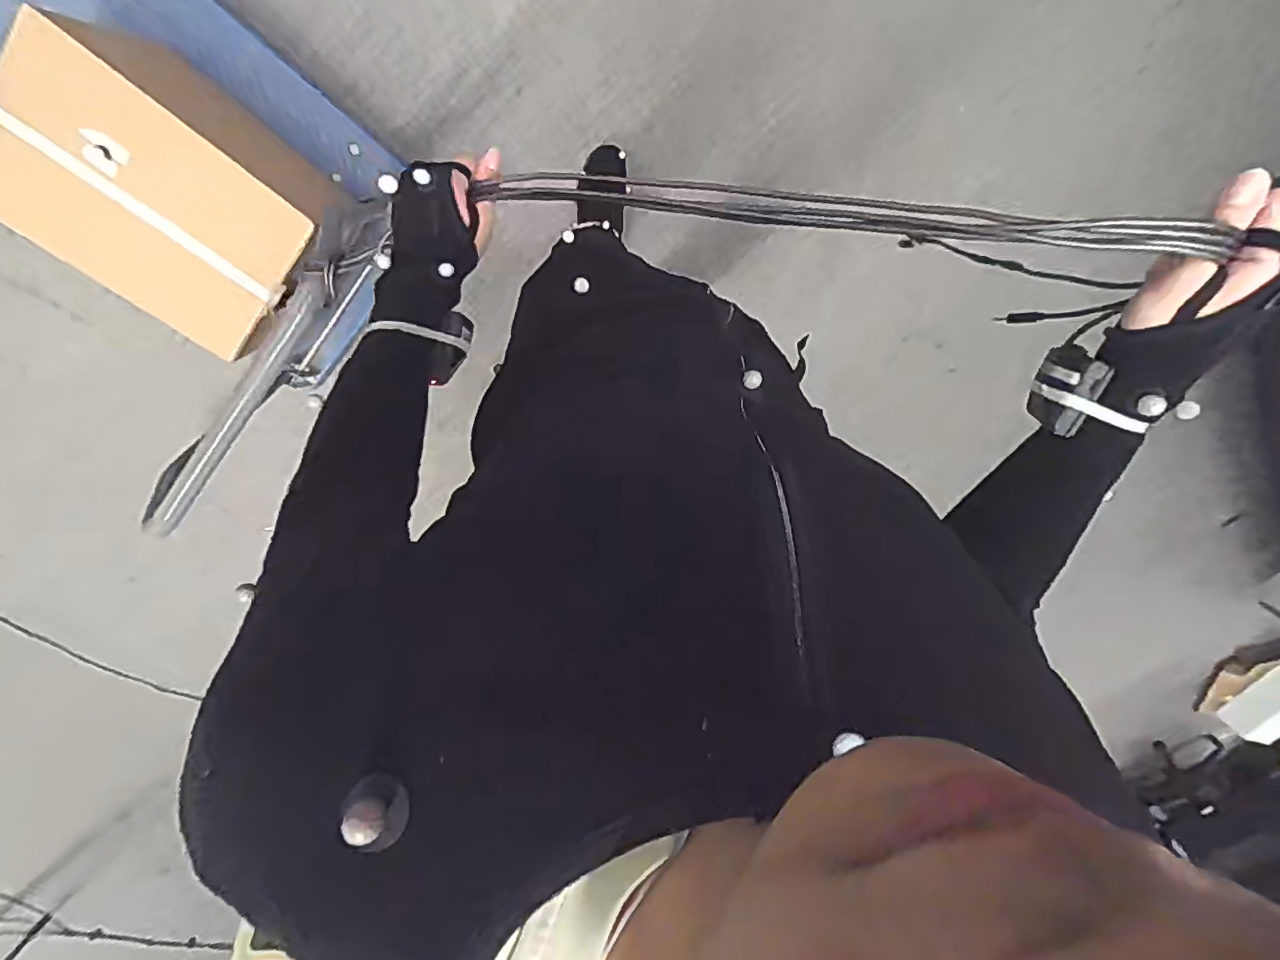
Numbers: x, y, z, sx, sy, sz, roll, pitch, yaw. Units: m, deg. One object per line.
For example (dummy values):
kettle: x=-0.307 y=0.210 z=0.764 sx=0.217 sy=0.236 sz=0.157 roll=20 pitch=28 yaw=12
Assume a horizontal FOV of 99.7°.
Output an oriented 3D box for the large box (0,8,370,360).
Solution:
large box: x=-0.787 y=-0.493 z=0.968 sx=0.408 sy=0.320 sz=0.320 roll=38 pitch=108 yaw=-24
